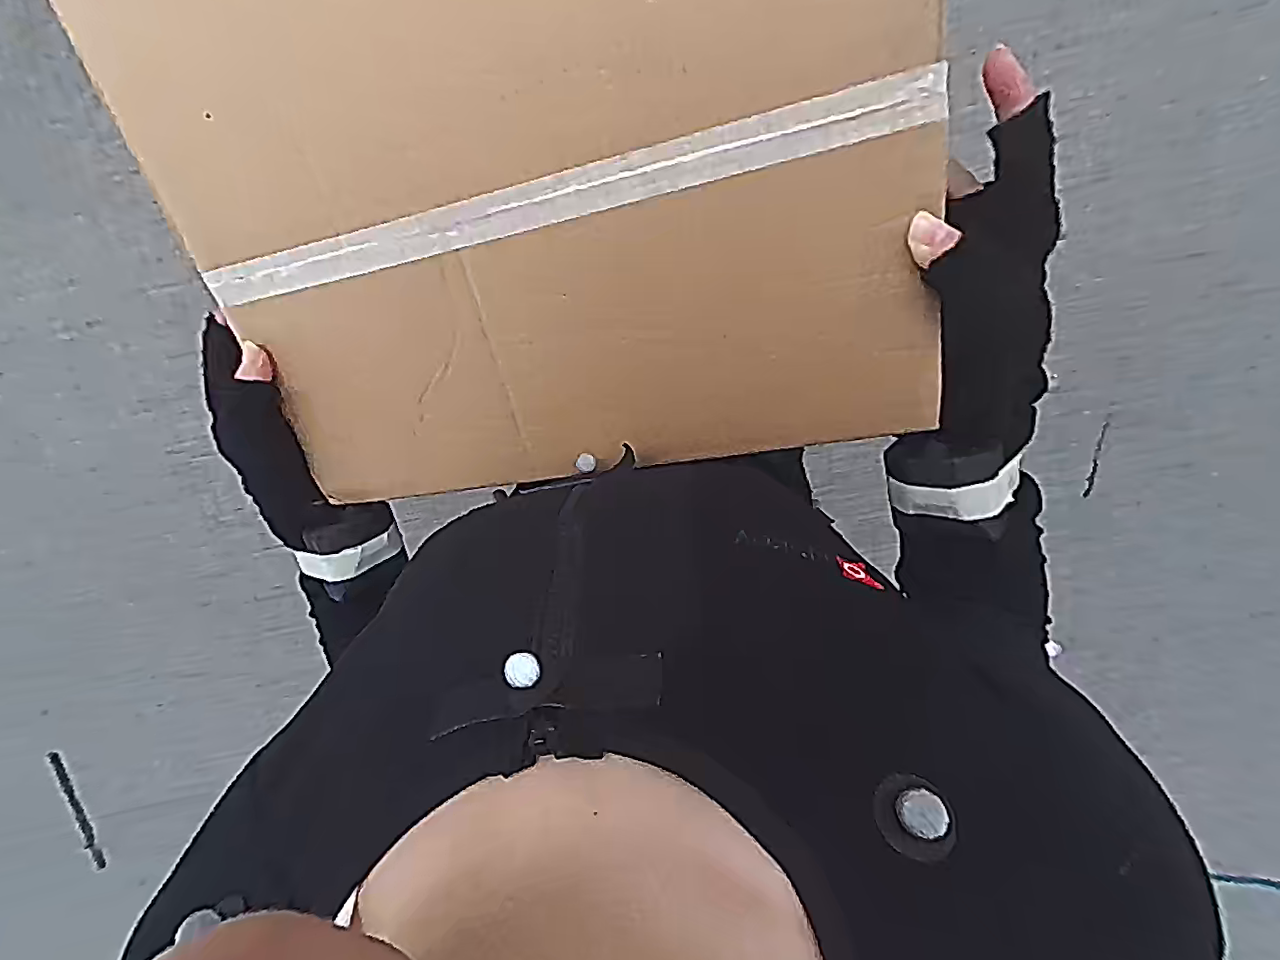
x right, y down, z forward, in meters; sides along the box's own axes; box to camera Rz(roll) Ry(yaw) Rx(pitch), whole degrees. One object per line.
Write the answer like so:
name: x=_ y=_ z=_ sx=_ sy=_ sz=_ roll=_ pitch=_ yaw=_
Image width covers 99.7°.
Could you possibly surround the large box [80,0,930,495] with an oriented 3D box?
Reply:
large box: x=-0.036 y=-0.217 z=0.414 sx=0.408 sy=0.320 sz=0.320 roll=-7 pitch=117 yaw=15
